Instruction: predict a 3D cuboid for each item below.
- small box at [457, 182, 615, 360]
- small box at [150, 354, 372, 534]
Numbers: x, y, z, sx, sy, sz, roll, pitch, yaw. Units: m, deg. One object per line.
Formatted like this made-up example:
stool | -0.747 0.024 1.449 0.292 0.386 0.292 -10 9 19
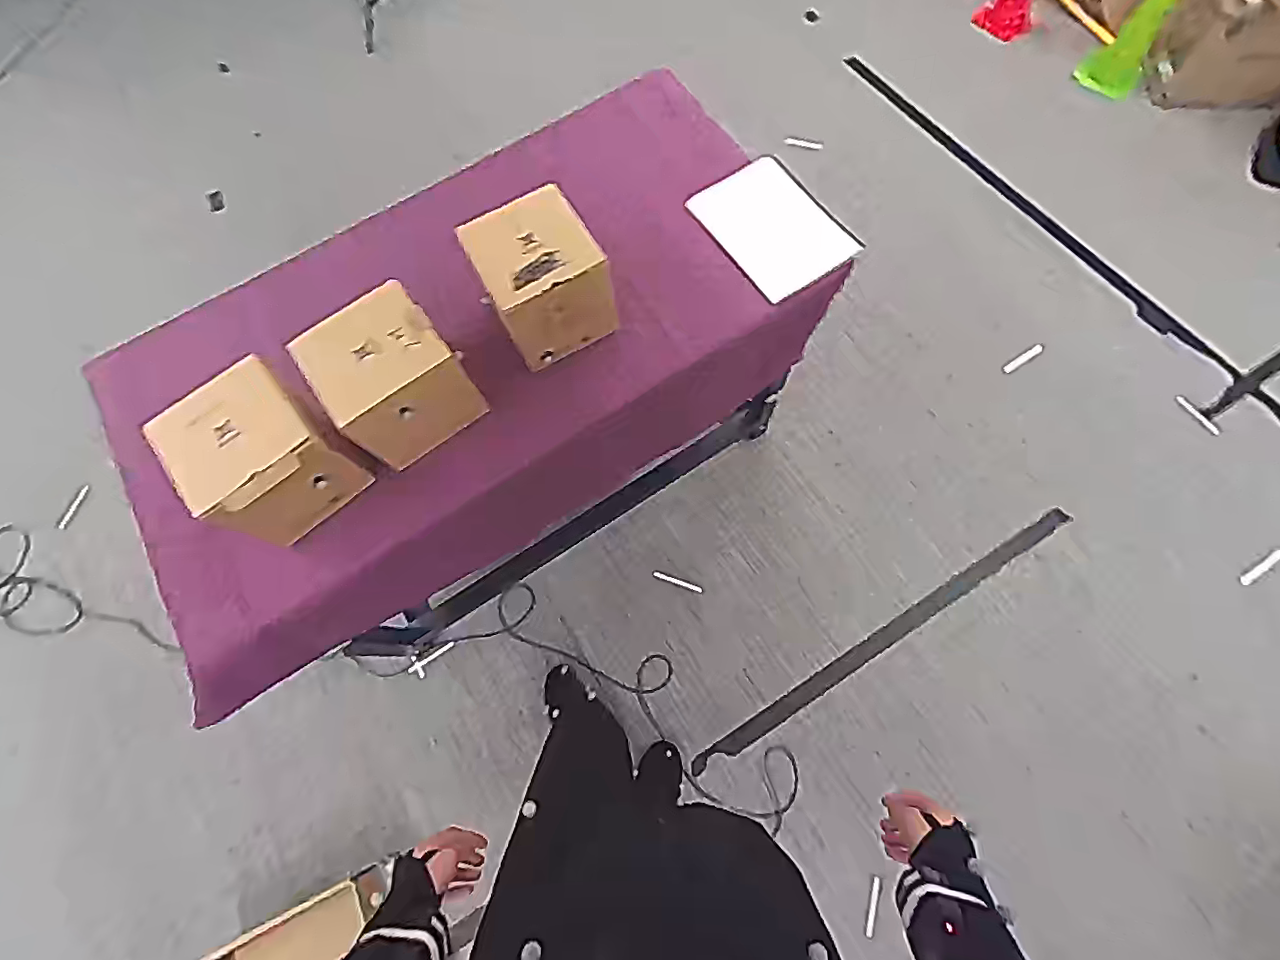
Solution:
small box | -0.153 -0.314 0.853 0.168 0.176 0.179 -29 71 -7
small box | -0.532 -0.040 0.785 0.168 0.176 0.179 -40 73 -10
